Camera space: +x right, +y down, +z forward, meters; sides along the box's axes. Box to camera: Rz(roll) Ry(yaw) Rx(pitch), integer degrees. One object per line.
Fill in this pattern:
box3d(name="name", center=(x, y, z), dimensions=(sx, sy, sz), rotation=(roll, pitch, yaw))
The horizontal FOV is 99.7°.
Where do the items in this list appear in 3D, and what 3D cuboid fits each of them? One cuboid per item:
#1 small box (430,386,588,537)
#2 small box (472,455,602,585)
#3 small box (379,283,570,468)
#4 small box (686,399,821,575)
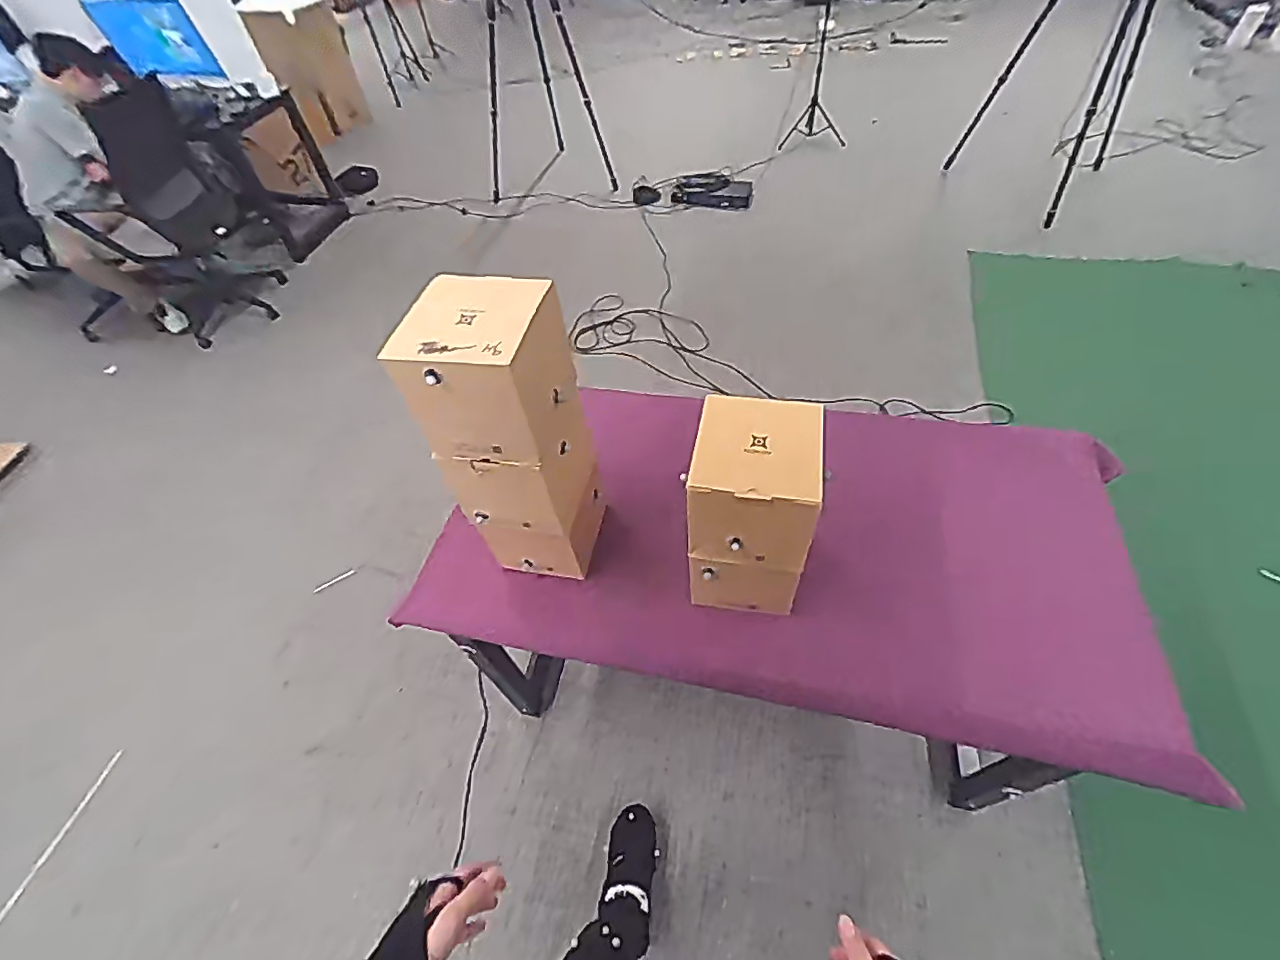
box3d(name="small box", center=(-0.188, -0.031, 0.842), dimensions=(0.168, 0.176, 0.179), rotation=(6, 51, 11))
box3d(name="small box", center=(-0.172, 0.065, 0.974), dimensions=(0.168, 0.176, 0.179), rotation=(6, 53, 11))
box3d(name="small box", center=(-0.201, -0.140, 0.720), dimensions=(0.168, 0.176, 0.179), rotation=(5, 51, 11))
box3d(name="small box", center=(0.158, 0.010, 0.771), dimensions=(0.168, 0.176, 0.179), rotation=(6, 52, 11))
